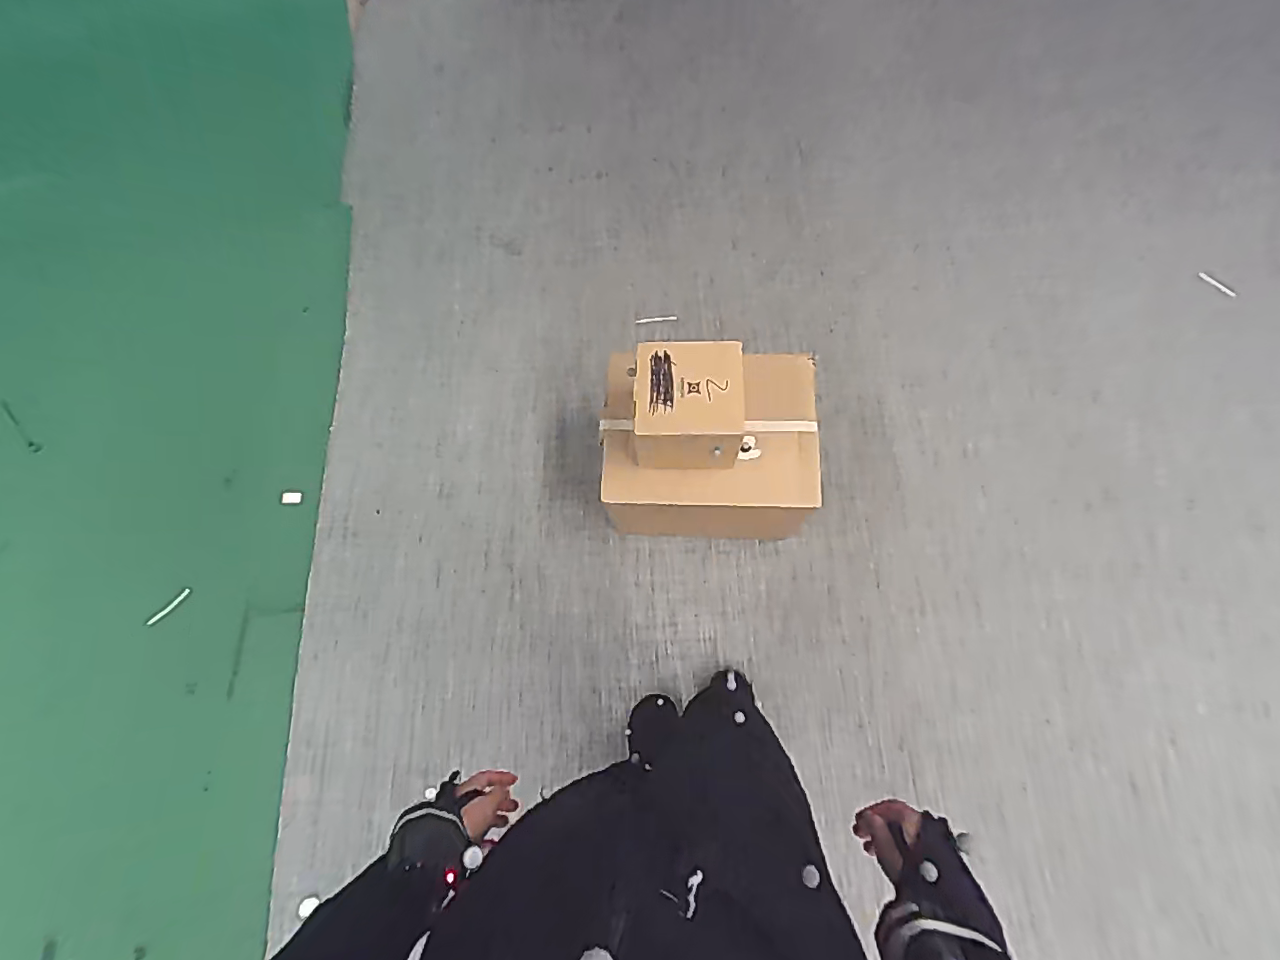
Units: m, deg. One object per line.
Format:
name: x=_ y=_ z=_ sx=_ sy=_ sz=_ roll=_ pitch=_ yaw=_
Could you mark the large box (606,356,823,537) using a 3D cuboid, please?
large box: x=0.142 y=-0.055 z=1.171 sx=0.408 sy=0.320 sz=0.320 roll=1 pitch=74 yaw=3
